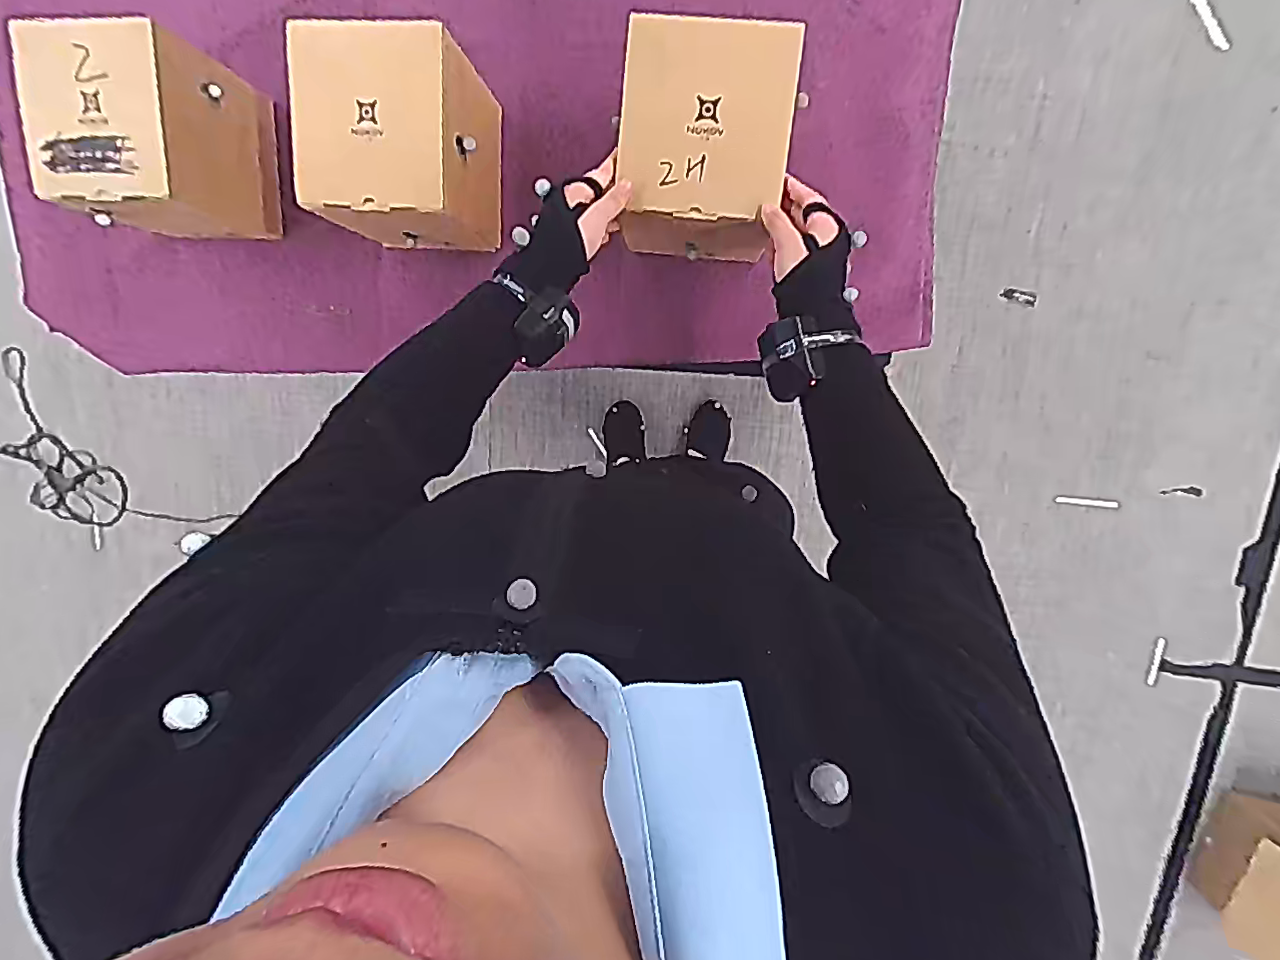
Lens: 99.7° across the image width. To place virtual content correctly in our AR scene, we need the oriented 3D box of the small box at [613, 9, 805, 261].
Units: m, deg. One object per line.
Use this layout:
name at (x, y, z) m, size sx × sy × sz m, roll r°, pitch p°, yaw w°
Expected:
small box at (0.069, -0.358, 0.593) m, size 0.168 × 0.176 × 0.179 m, roll 7°, pitch 100°, yaw 4°

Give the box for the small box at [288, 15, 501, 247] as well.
small box at (-0.269, -0.386, 0.628) m, size 0.168 × 0.176 × 0.179 m, roll 4°, pitch 101°, yaw 5°
